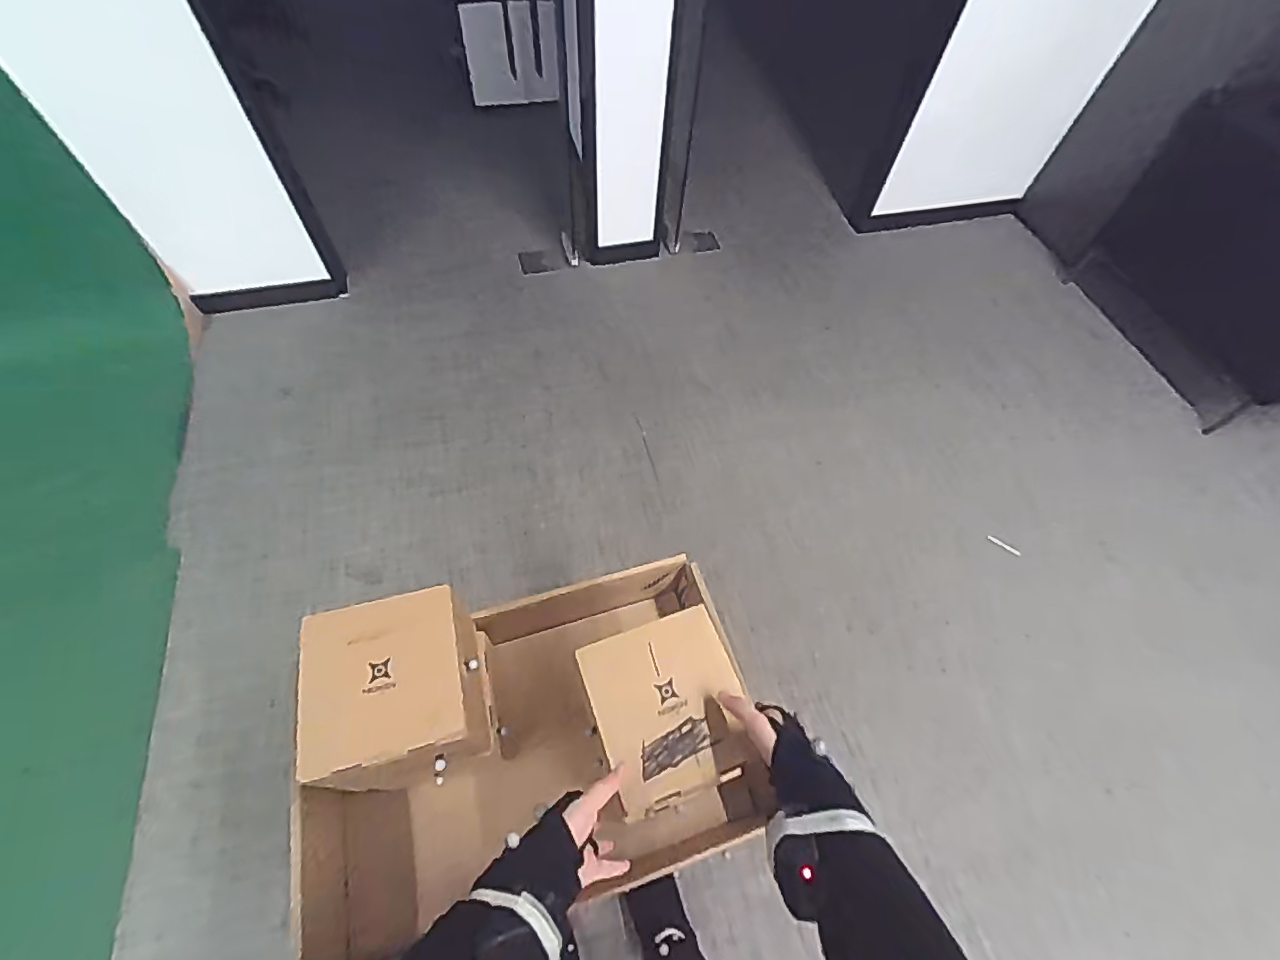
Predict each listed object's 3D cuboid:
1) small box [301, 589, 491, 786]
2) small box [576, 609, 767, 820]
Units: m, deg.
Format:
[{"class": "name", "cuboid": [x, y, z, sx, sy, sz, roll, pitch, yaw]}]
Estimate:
[{"class": "small box", "cuboid": [-0.284, 0.257, 0.659, 0.168, 0.176, 0.179, -10, 60, -12]}, {"class": "small box", "cuboid": [0.028, 0.287, 0.662, 0.168, 0.176, 0.179, -16, 61, -14]}]
